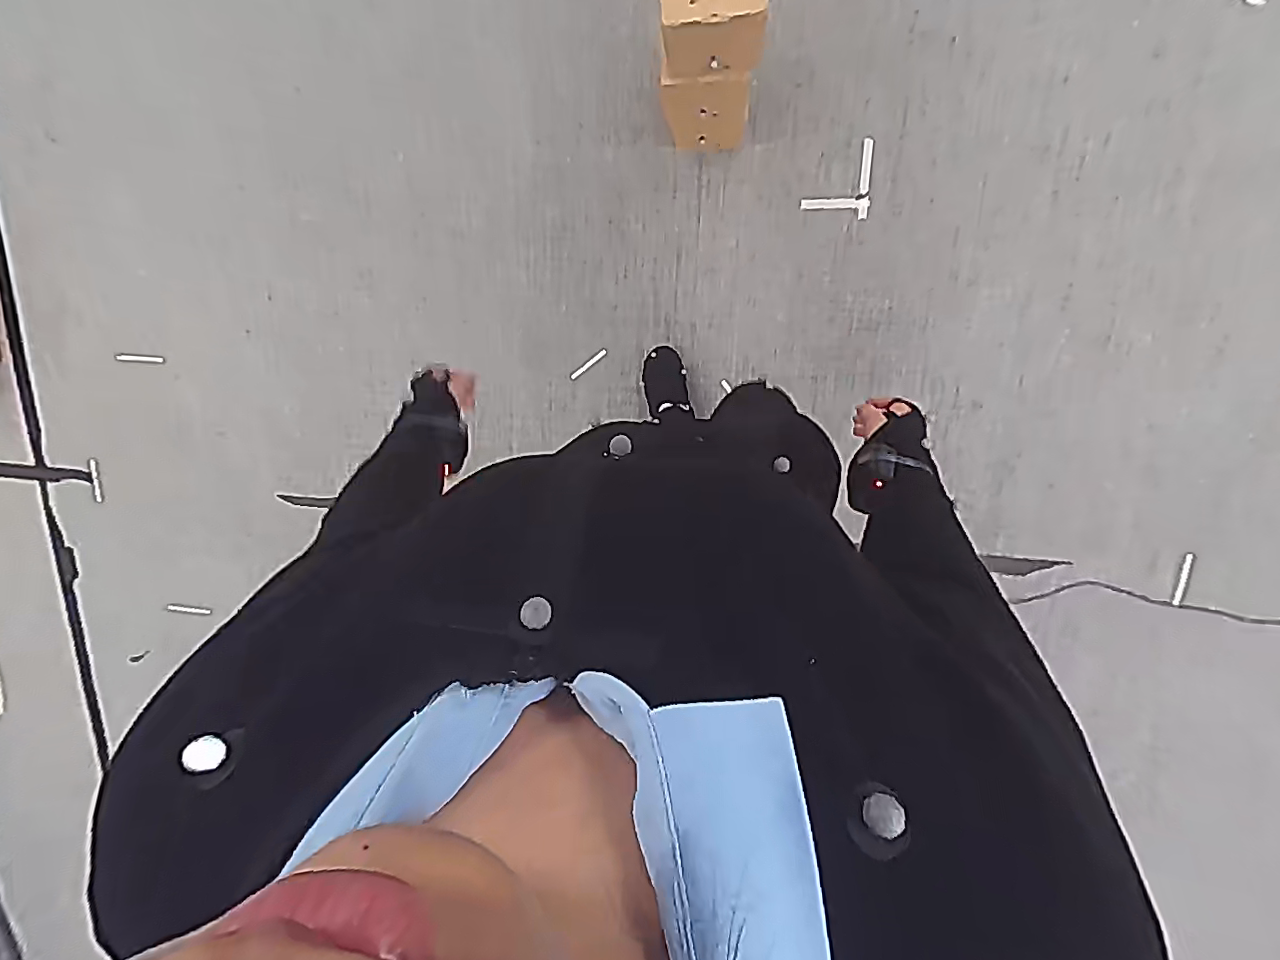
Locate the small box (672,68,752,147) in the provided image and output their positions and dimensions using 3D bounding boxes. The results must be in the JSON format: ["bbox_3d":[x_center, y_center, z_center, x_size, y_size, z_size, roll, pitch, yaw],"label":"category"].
[{"bbox_3d":[0.160,-0.871,1.206,0.168,0.176,0.179,2,102,7],"label":"small box"}]

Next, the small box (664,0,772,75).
[{"bbox_3d":[0.125,-0.809,0.884,0.168,0.176,0.179,-1,103,8],"label":"small box"}]
